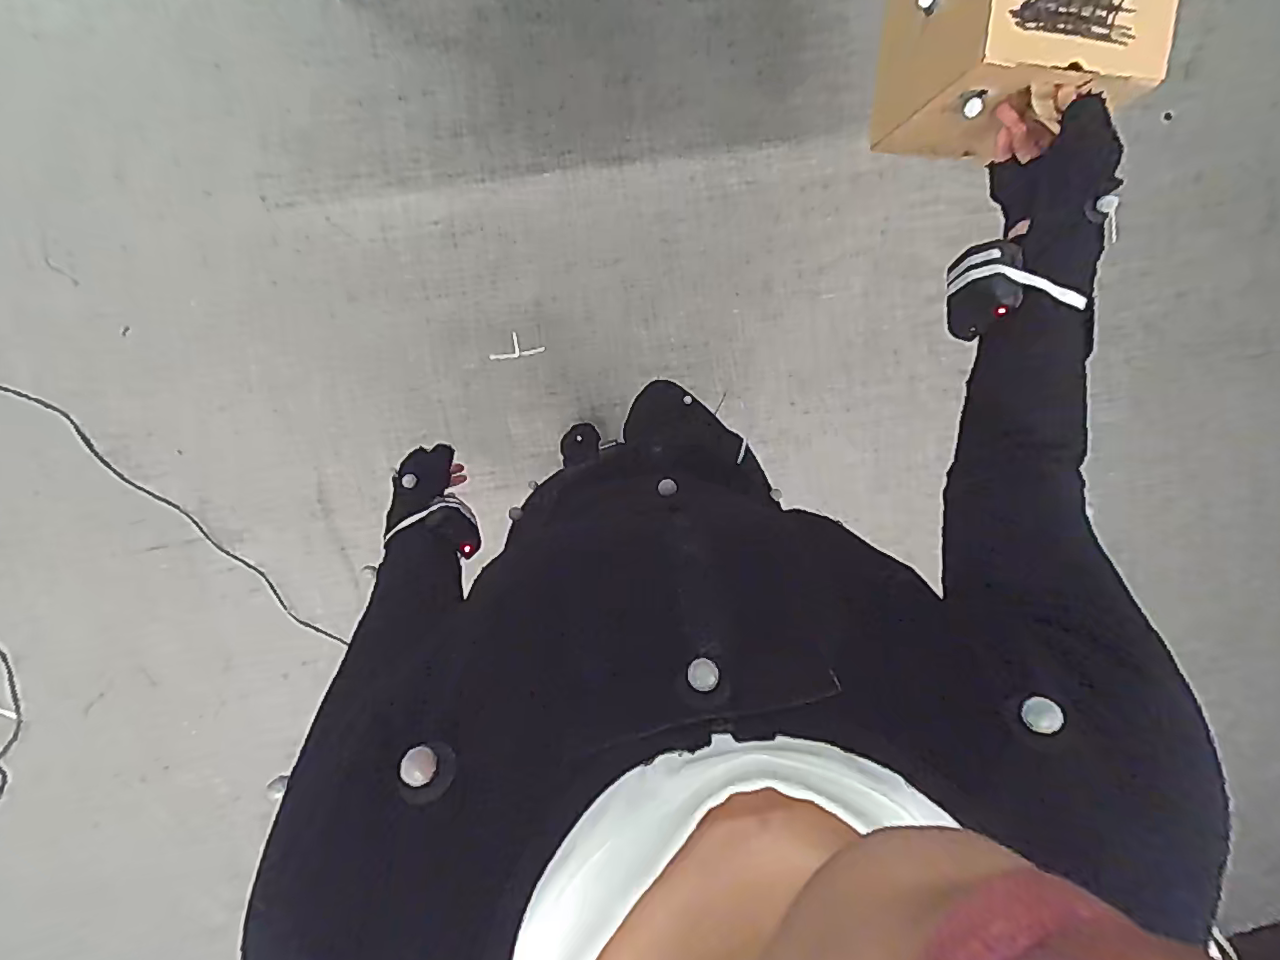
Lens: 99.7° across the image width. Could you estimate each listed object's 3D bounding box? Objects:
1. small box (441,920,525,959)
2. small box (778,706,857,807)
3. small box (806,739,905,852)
[{"bbox_3d":[-0.332,1.085,1.138,0.168,0.176,0.179,-3,96,-6],"label":"small box"},{"bbox_3d":[0.513,0.781,1.543,0.168,0.176,0.179,-13,97,-6],"label":"small box"},{"bbox_3d":[0.543,0.792,1.382,0.168,0.176,0.179,-13,97,-6],"label":"small box"}]
